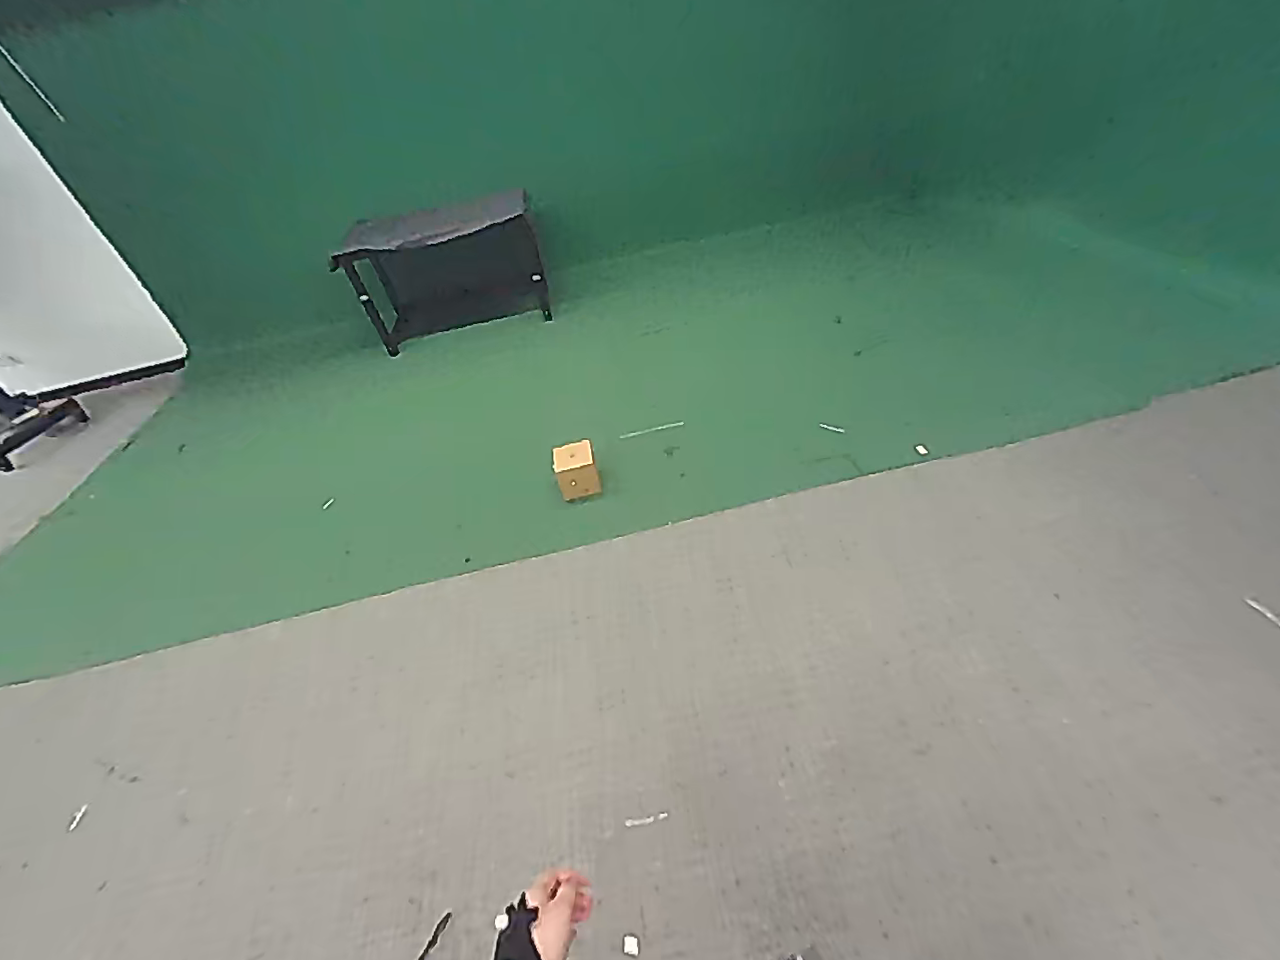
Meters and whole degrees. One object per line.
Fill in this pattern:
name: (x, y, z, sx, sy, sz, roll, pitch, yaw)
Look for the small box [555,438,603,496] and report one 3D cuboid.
small box: (-0.263, -0.049, 2.346, 0.168, 0.176, 0.179, -15, 39, -1)
